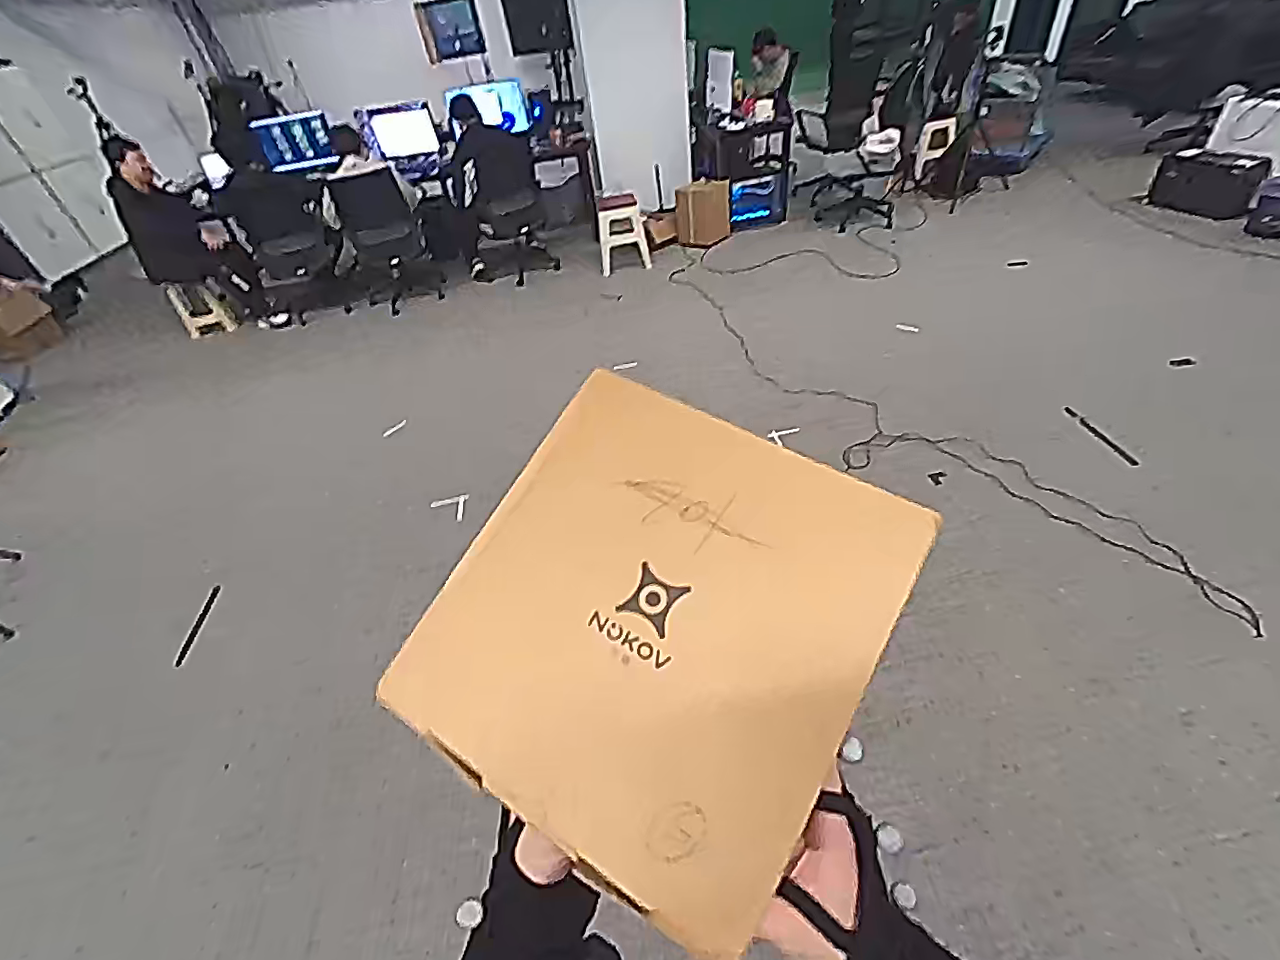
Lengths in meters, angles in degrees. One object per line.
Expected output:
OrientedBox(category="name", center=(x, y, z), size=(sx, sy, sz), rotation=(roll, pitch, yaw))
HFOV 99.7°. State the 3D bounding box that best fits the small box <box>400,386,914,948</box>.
OrientedBox(category="small box", center=(0.019, 0.085, 0.301), size=(0.168, 0.176, 0.179), rotation=(25, 74, 19))
